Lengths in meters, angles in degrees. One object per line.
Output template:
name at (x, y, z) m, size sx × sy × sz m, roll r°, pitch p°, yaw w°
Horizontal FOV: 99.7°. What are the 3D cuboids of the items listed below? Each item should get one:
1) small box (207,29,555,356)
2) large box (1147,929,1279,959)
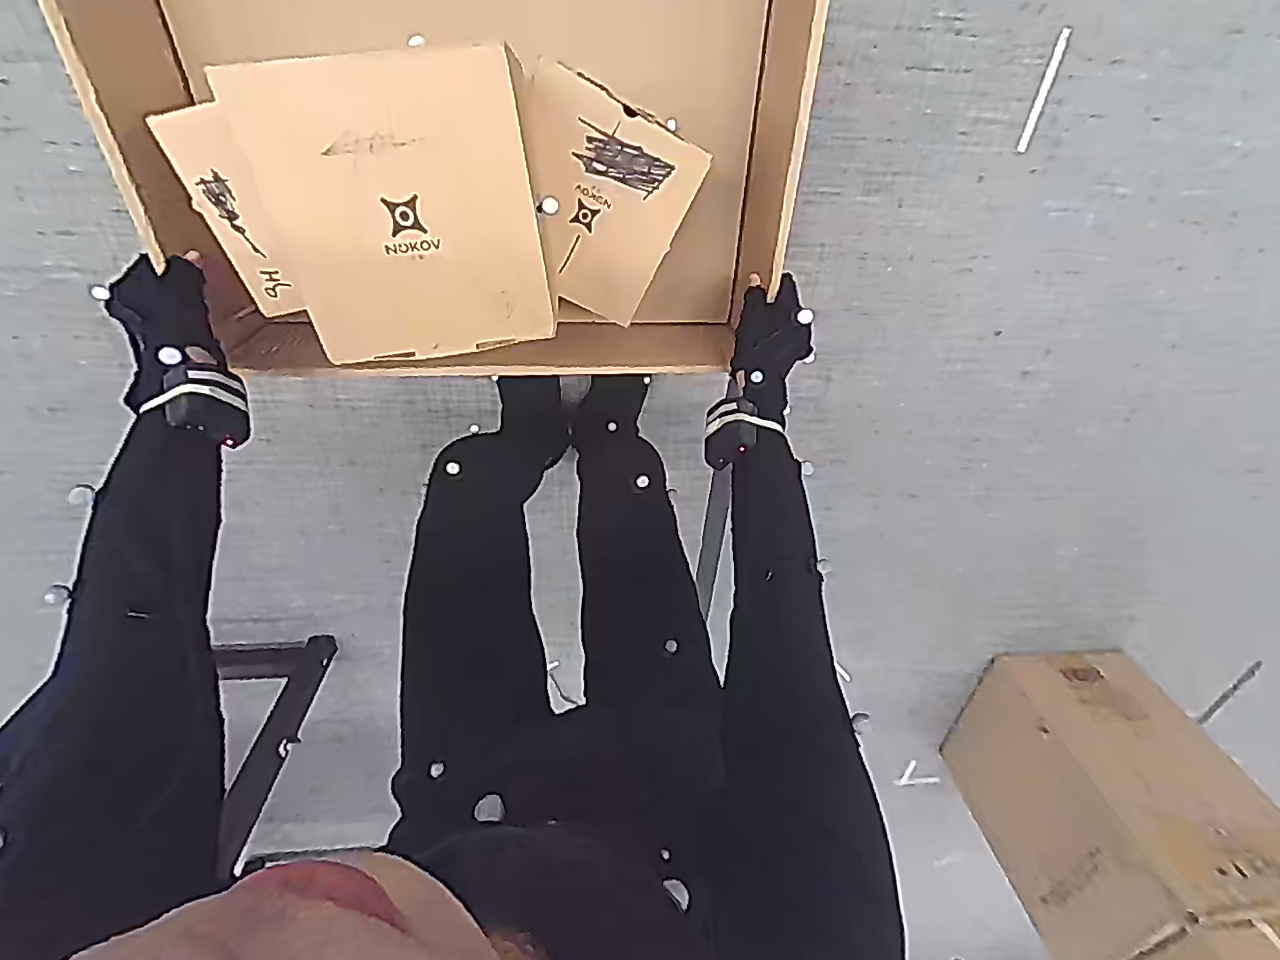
small box at (-0.159, -0.214, 0.411) m, size 0.168 × 0.176 × 0.179 m, roll -9°, pitch 123°, yaw -3°
large box at (1.241, 1.151, 1.073) m, size 0.320 × 0.320 × 0.408 m, roll 2°, pitch 124°, yaw -5°
